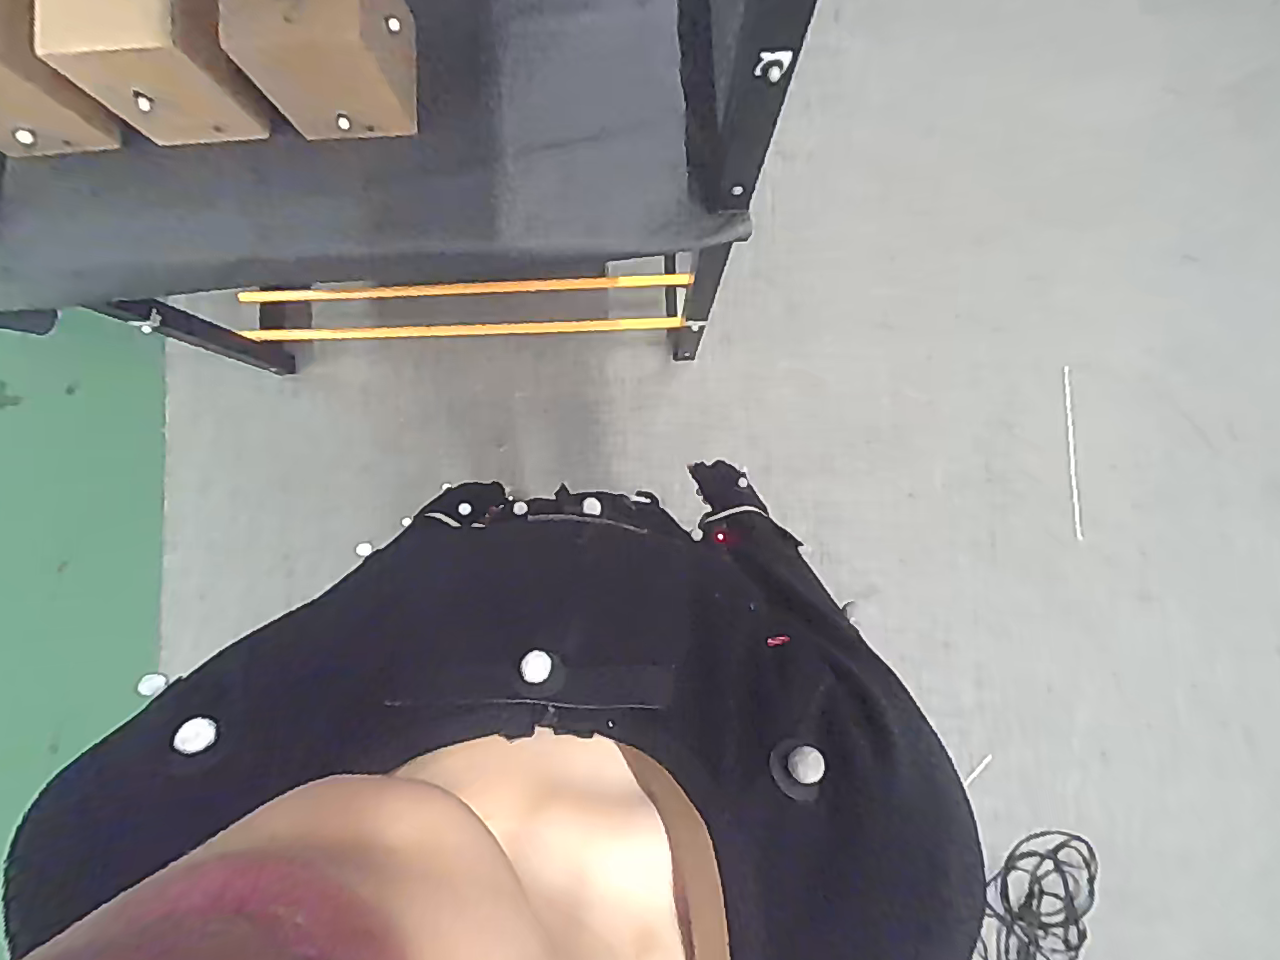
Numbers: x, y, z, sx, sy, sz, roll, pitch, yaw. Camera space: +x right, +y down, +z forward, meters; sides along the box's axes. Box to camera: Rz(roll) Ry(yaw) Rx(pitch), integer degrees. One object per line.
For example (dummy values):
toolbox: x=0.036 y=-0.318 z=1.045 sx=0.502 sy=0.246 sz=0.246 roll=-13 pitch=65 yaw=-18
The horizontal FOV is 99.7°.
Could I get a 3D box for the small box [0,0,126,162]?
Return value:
small box: x=-0.846 y=-0.566 z=0.725 sx=0.168 sy=0.176 sz=0.179 roll=-5 pitch=87 yaw=1
